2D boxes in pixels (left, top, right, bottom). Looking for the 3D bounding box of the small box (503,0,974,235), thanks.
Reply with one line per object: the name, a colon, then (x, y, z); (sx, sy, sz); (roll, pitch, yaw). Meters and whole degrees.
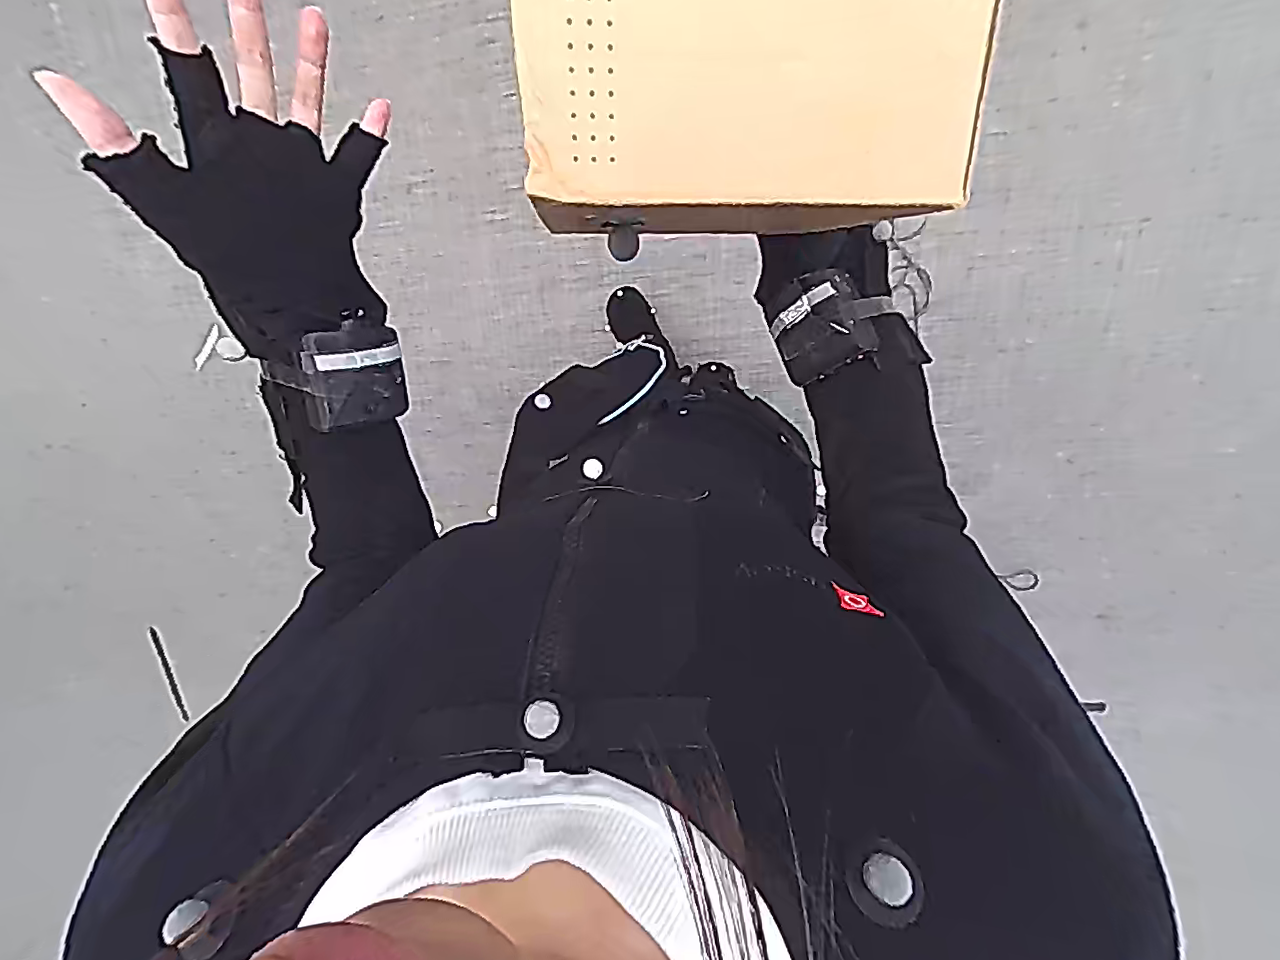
small box: (0.027, -0.216, 0.252); (0.176, 0.168, 0.179); (-2, 111, -4)
